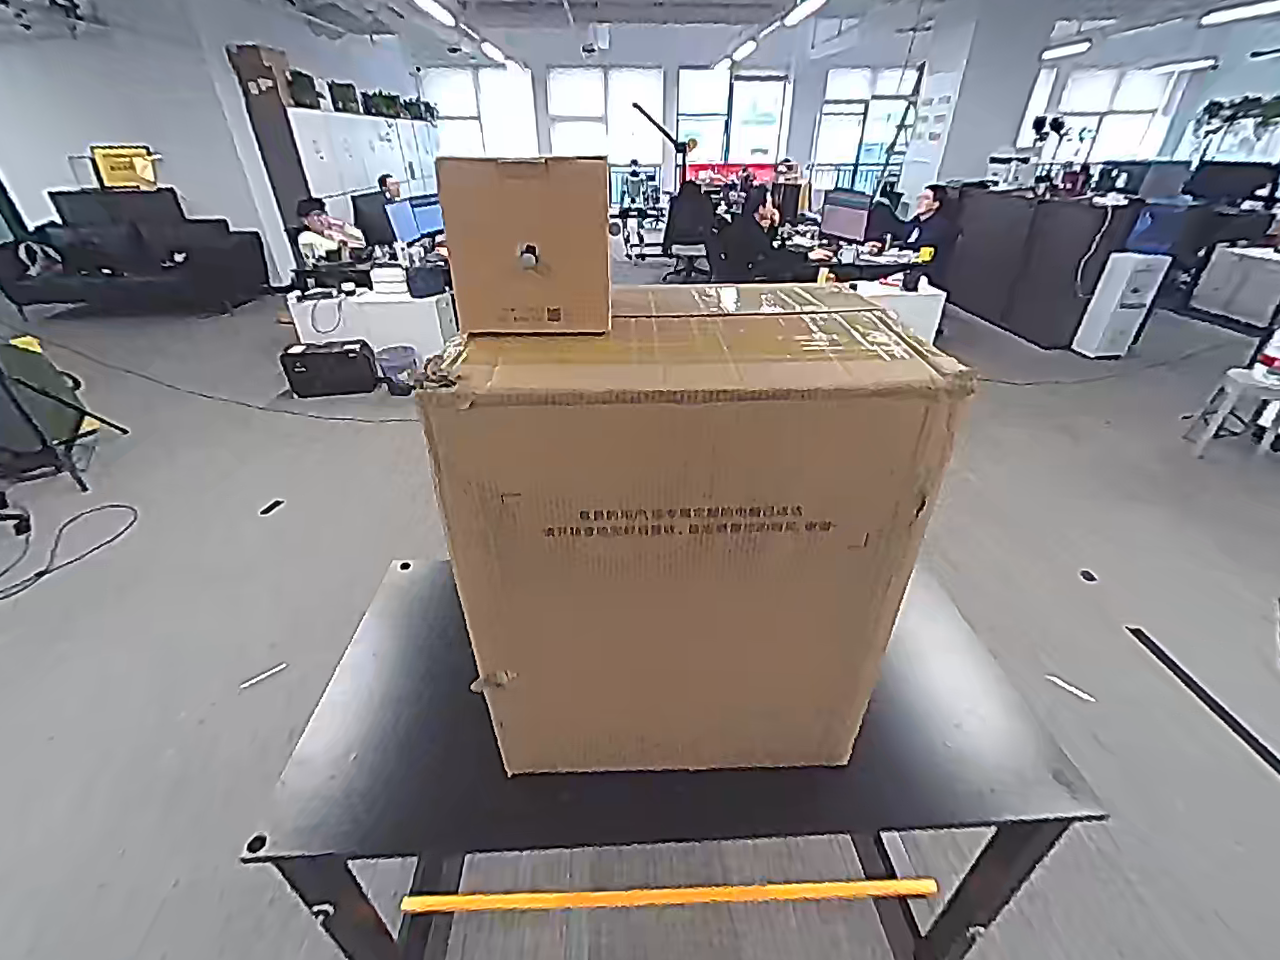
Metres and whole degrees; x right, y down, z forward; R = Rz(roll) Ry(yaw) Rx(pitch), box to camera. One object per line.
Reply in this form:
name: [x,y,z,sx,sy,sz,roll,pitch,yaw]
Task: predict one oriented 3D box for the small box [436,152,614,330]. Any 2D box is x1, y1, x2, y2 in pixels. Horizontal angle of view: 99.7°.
small box: [-0.114,-0.275,0.619,0.168,0.176,0.179,-1,31,-3]
